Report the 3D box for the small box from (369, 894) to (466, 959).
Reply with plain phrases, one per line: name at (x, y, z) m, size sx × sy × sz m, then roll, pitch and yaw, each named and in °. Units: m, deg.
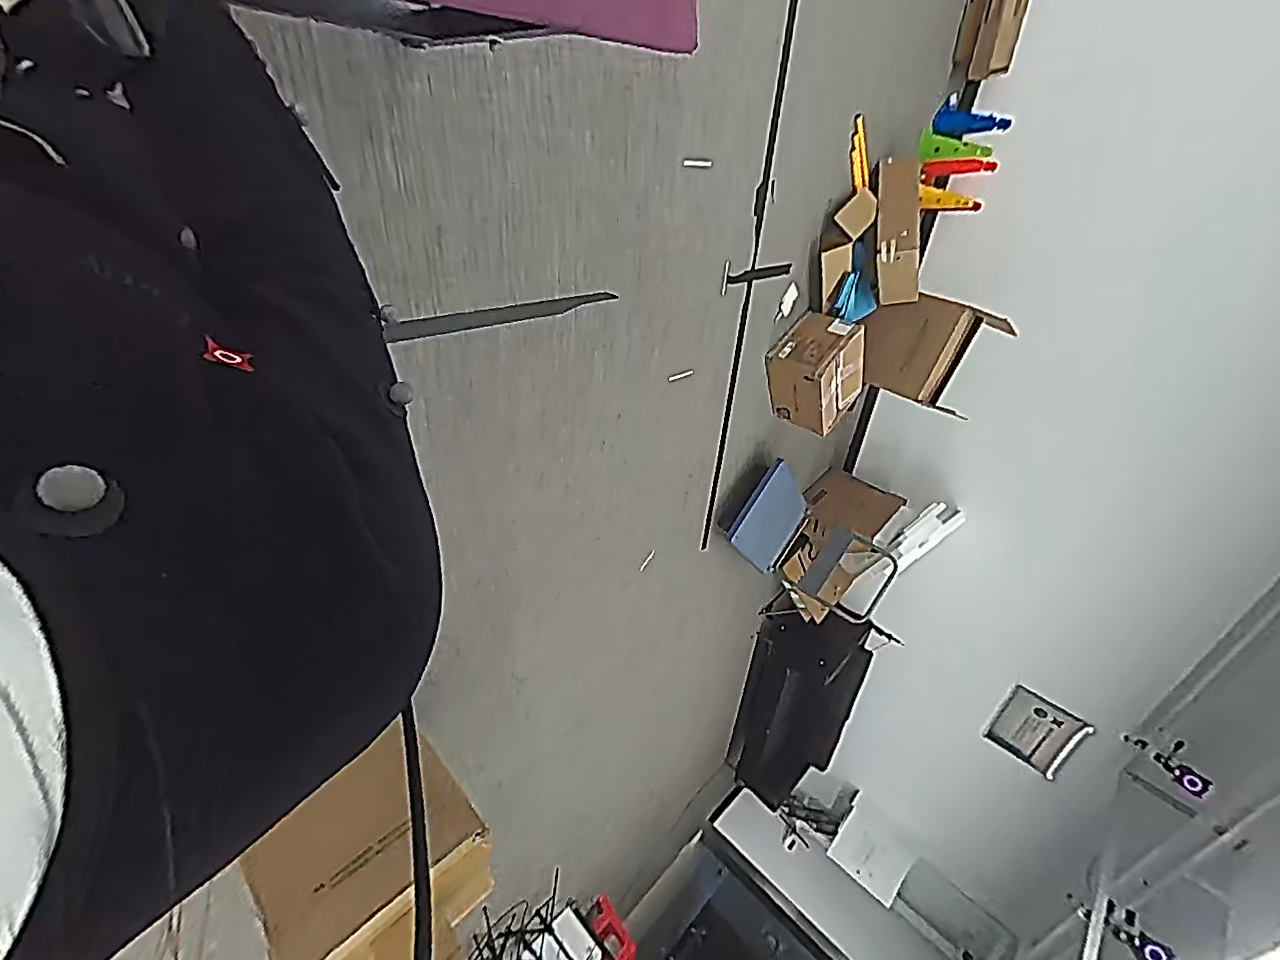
small box at (-0.581, 1.253, 1.423) m, size 0.179 × 0.176 × 0.168 m, roll -23°, pitch 132°, yaw -40°
